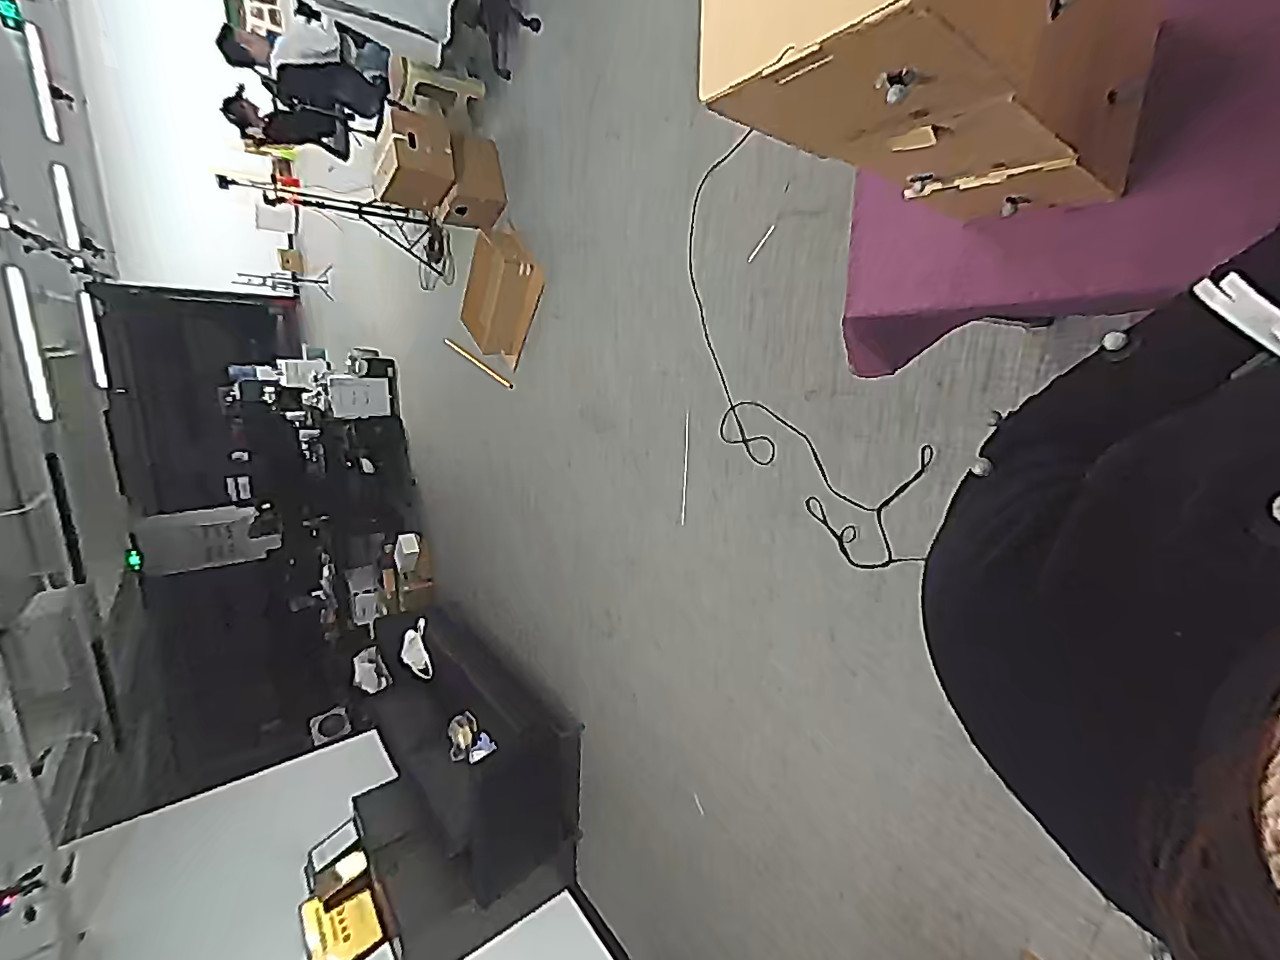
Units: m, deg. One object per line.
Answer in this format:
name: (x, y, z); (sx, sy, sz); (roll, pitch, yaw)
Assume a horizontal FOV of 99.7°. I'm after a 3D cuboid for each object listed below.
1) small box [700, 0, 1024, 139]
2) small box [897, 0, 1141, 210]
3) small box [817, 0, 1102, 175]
small box: (0.162, -0.371, 0.388); (0.168, 0.176, 0.179); (16, 109, 48)
small box: (0.413, -0.409, 0.595); (0.168, 0.176, 0.179); (19, 112, 47)
small box: (0.288, -0.395, 0.489); (0.168, 0.176, 0.179); (20, 111, 48)
